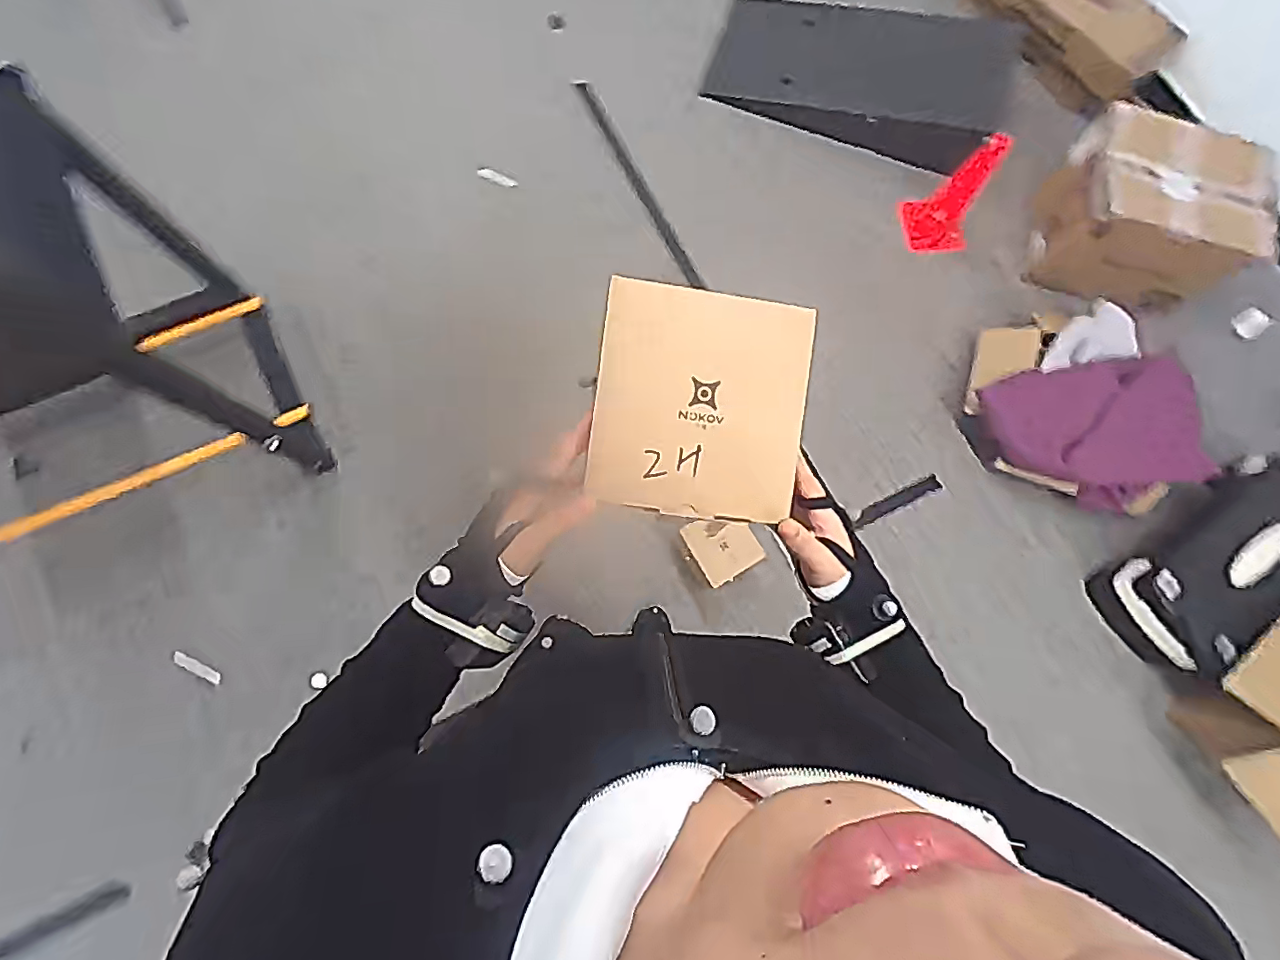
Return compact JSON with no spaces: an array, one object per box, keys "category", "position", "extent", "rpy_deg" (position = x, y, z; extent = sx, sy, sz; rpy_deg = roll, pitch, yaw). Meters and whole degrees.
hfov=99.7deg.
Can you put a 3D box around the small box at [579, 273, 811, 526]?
[{"category":"small box","position":[0.035,-0.061,0.488],"extent":[0.168,0.176,0.179],"rpy_deg":[6,91,-6]}]

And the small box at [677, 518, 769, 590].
[{"category":"small box","position":[0.214,0.184,1.457],"extent":[0.168,0.176,0.179],"rpy_deg":[-29,81,-9]}]
